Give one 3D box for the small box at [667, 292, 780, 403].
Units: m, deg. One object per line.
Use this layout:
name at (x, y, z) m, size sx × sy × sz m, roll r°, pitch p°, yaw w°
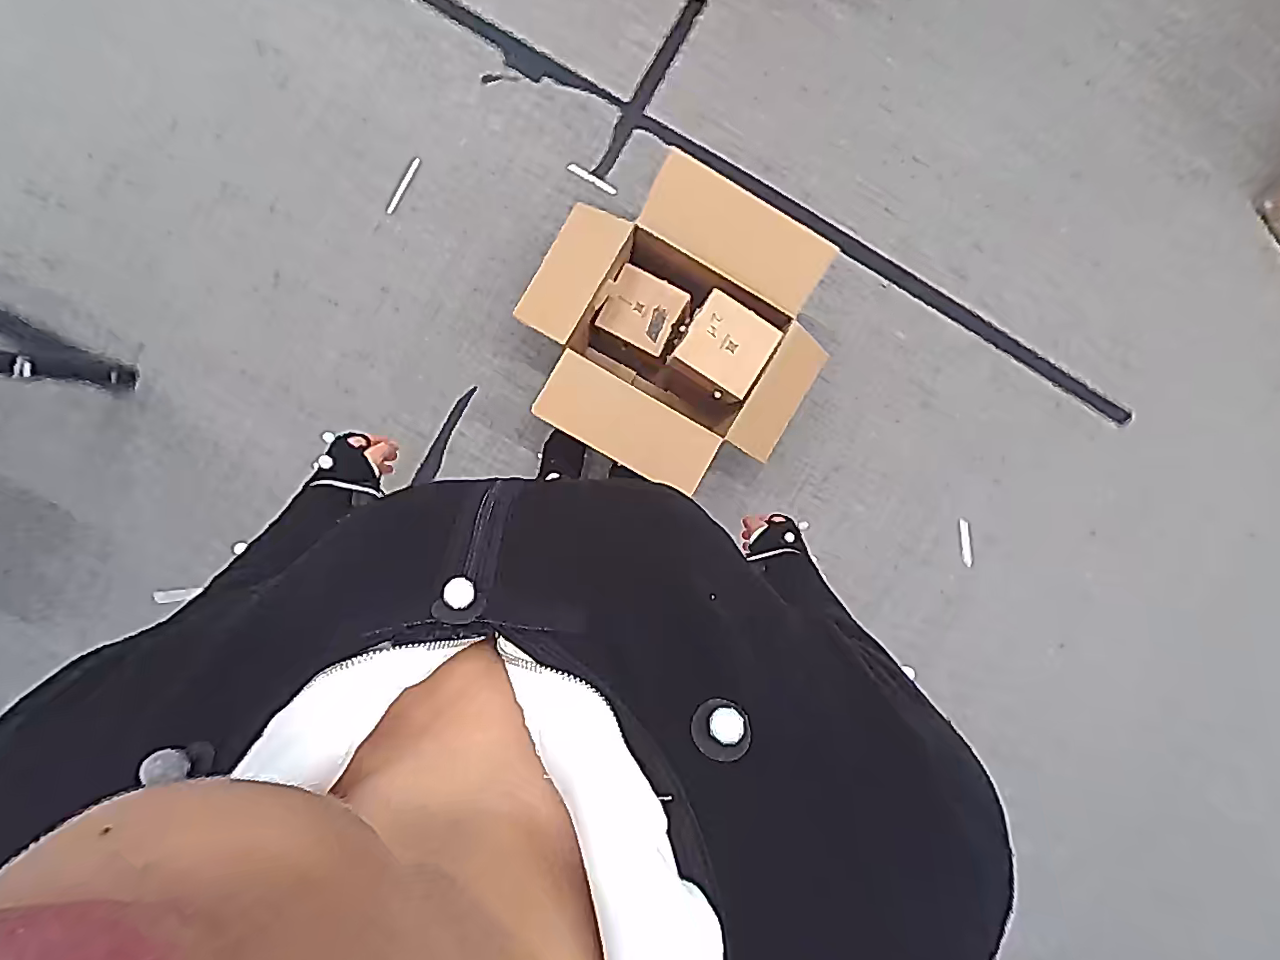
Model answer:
small box at (0.177, -0.285, 1.208) m, size 0.179 × 0.176 × 0.168 m, roll 32°, pitch 92°, yaw -4°
